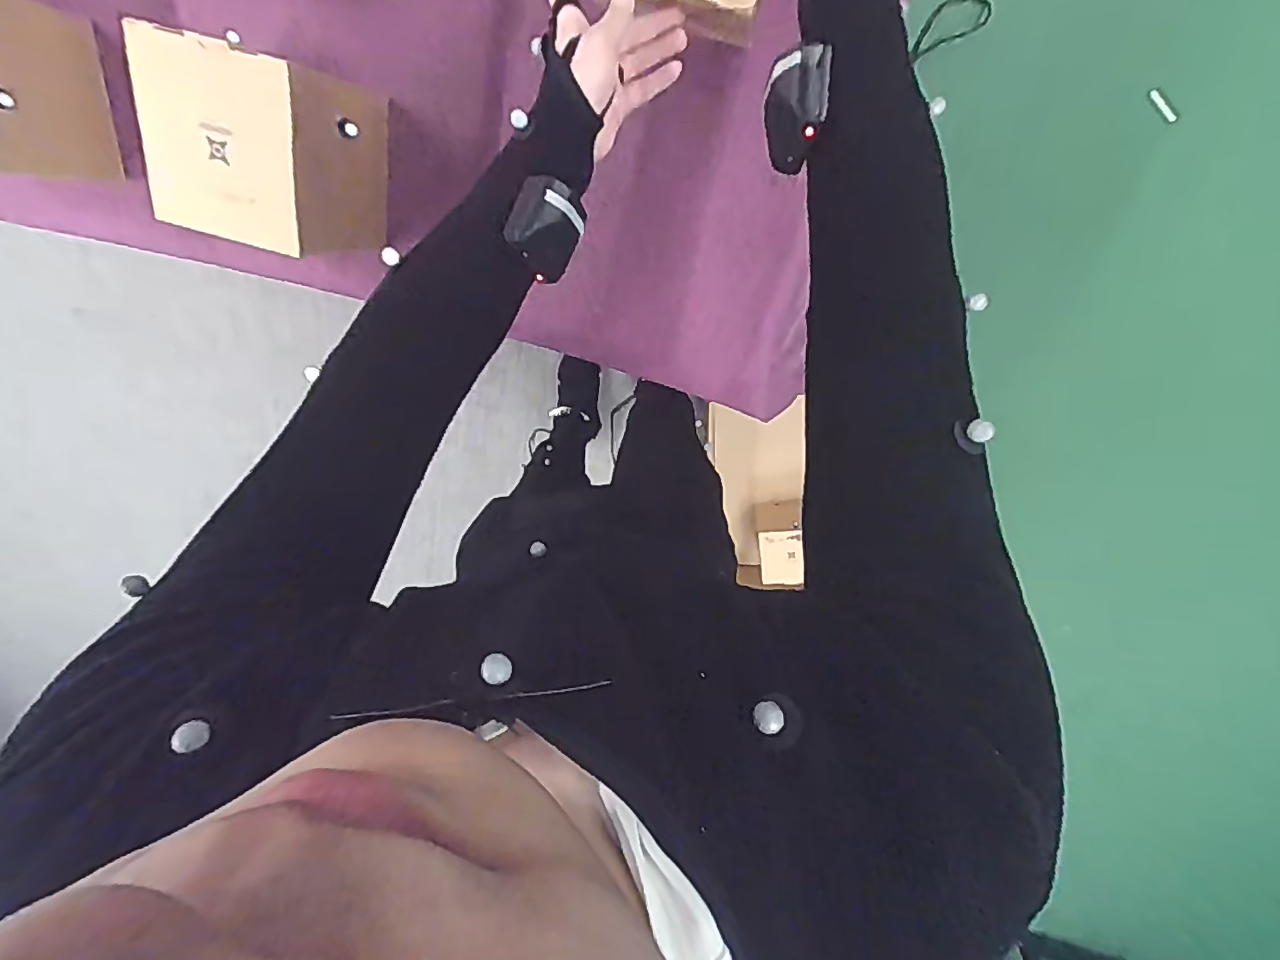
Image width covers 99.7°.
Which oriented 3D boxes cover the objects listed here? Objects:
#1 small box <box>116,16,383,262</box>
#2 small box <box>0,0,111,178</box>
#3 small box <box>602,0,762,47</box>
[{"bbox_3d":[-0.407,-0.360,0.599,0.168,0.176,0.179,17,118,1],"label":"small box"},{"bbox_3d":[-0.758,-0.452,0.605,0.168,0.176,0.179,14,117,1],"label":"small box"},{"bbox_3d":[0.042,-0.498,0.448,0.168,0.176,0.179,16,123,1],"label":"small box"}]
